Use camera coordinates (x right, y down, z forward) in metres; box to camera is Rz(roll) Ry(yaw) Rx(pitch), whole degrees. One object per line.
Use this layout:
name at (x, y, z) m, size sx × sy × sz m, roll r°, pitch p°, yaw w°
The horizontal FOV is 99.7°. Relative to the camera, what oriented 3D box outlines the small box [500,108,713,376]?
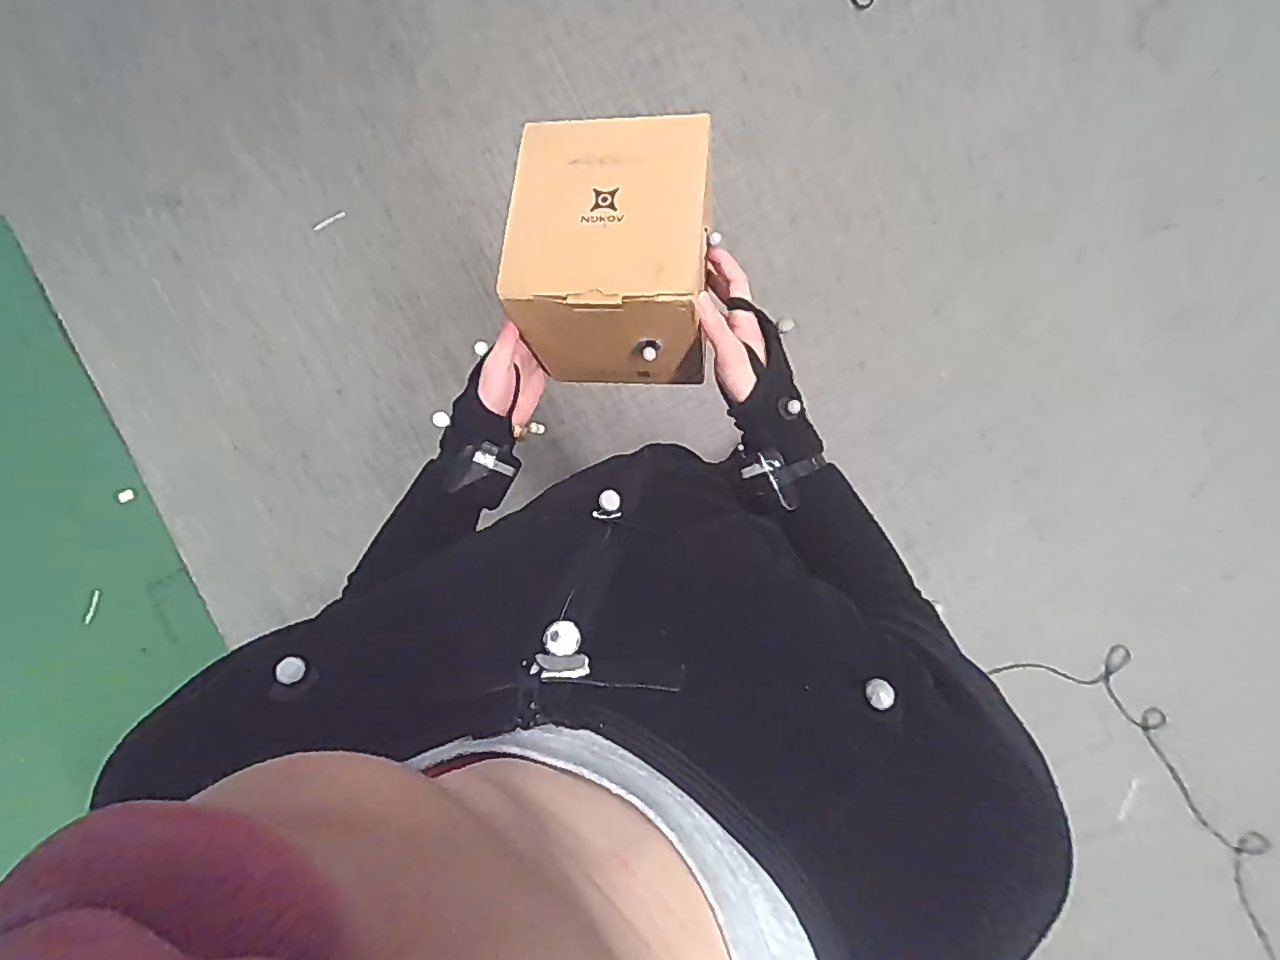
small box at (-0.017, -0.211, 0.520) m, size 0.168 × 0.176 × 0.179 m, roll 3°, pitch 76°, yaw 8°
